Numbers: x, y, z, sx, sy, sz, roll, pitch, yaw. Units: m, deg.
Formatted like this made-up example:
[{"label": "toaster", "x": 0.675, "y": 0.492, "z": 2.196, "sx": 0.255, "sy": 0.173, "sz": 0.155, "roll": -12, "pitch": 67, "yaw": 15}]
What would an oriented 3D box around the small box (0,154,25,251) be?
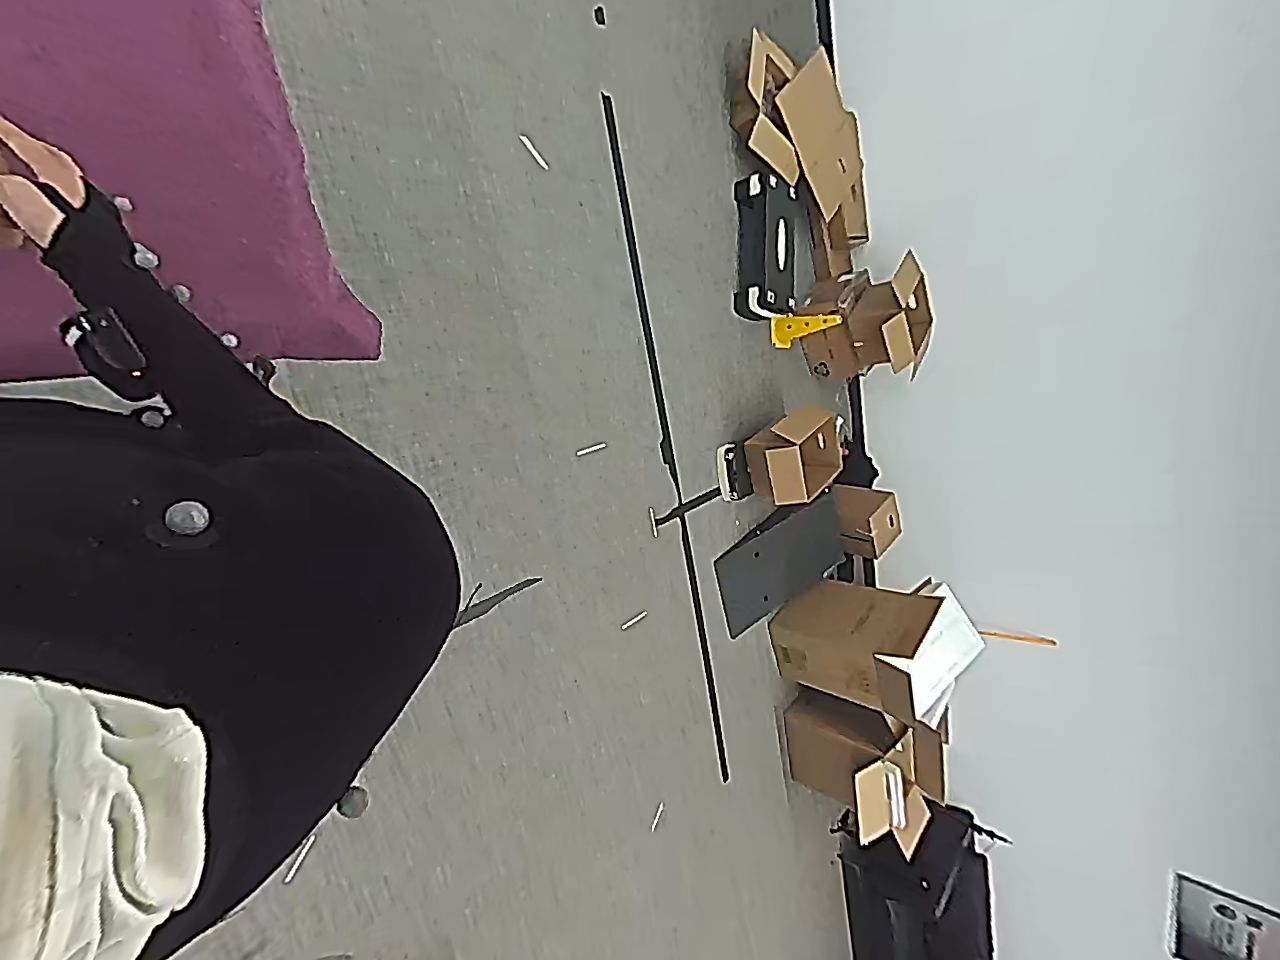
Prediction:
[{"label": "small box", "x": -0.664, "y": -0.289, "z": 0.441, "sx": 0.179, "sy": 0.176, "sz": 0.168, "roll": -28, "pitch": 111, "yaw": -44}]
